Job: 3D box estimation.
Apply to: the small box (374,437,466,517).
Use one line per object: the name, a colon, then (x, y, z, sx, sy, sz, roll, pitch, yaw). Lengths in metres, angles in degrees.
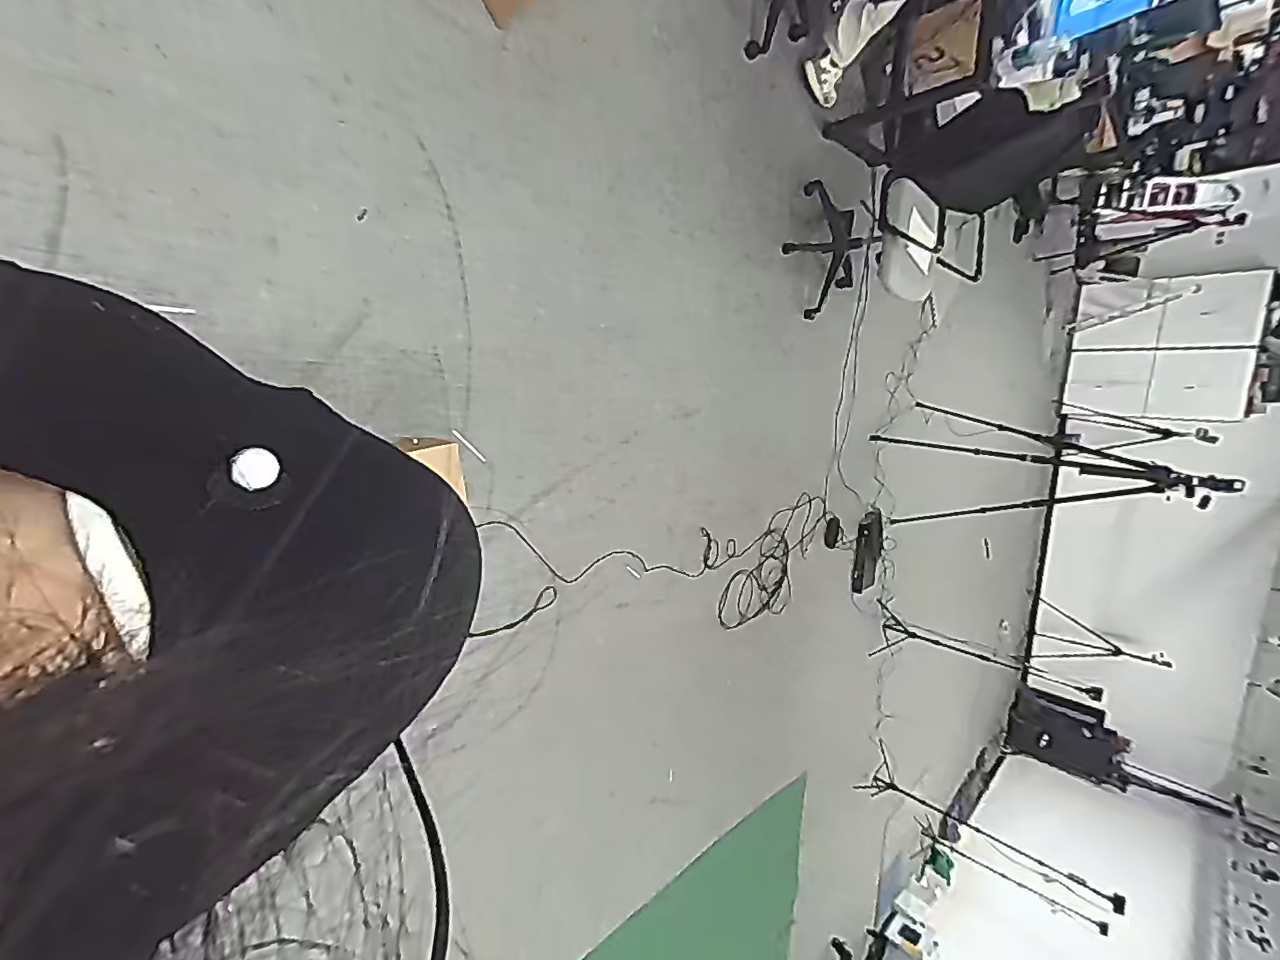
small box: (-0.591, -0.018, 1.450, 0.168, 0.176, 0.179, -18, 111, -41)
